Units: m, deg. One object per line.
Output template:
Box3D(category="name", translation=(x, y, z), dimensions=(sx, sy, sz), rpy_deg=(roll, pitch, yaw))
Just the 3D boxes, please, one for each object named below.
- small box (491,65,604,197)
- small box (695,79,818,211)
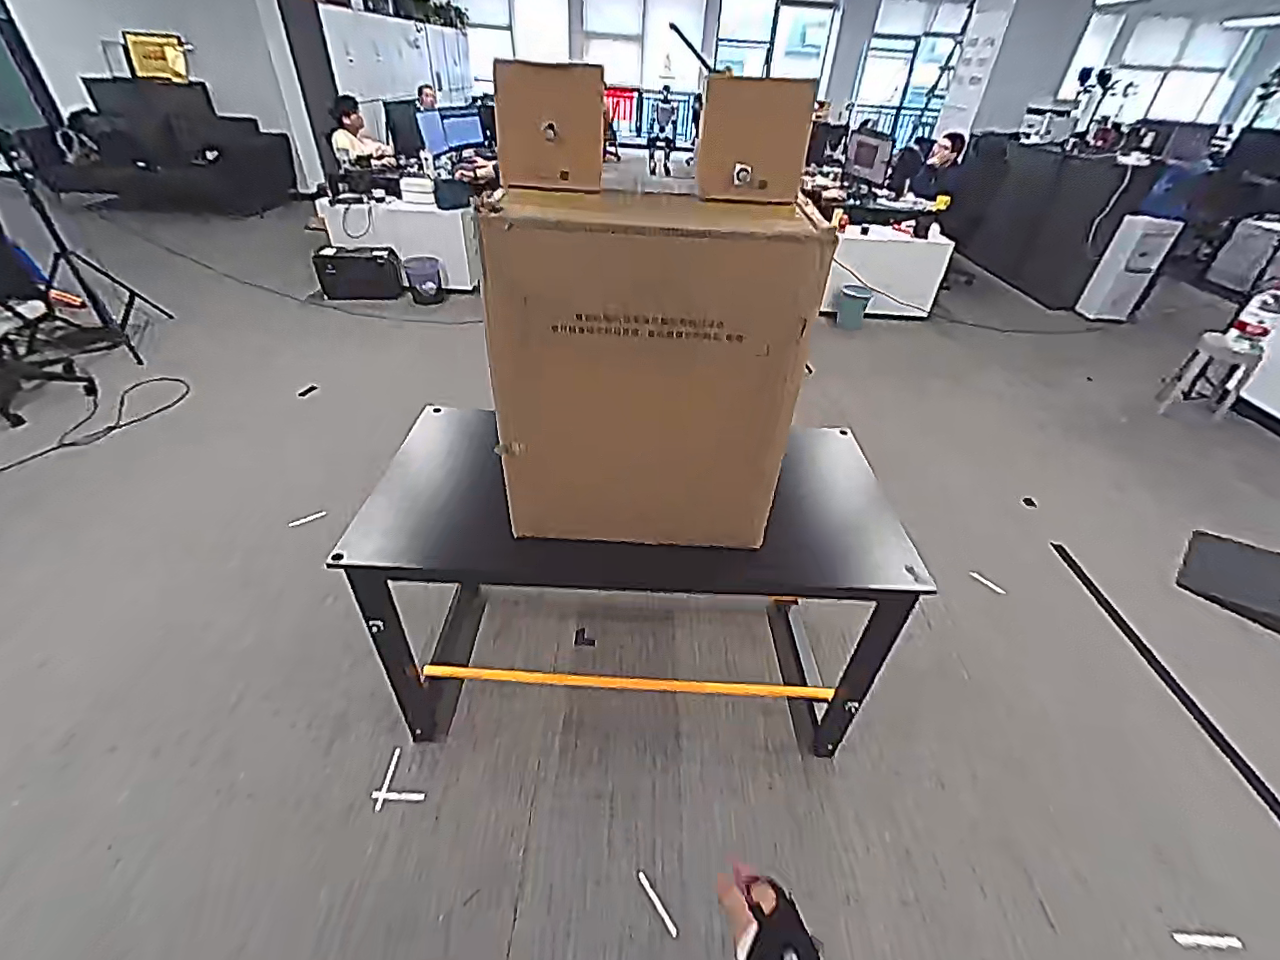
Box3D(category="small box", translation=(-0.145, -0.583, 0.905), dimensions=(0.168, 0.176, 0.179), rpy_deg=(1, 37, -5))
Box3D(category="small box", translation=(0.182, -0.561, 0.905), dimensions=(0.168, 0.176, 0.179), rpy_deg=(2, 36, 2))
